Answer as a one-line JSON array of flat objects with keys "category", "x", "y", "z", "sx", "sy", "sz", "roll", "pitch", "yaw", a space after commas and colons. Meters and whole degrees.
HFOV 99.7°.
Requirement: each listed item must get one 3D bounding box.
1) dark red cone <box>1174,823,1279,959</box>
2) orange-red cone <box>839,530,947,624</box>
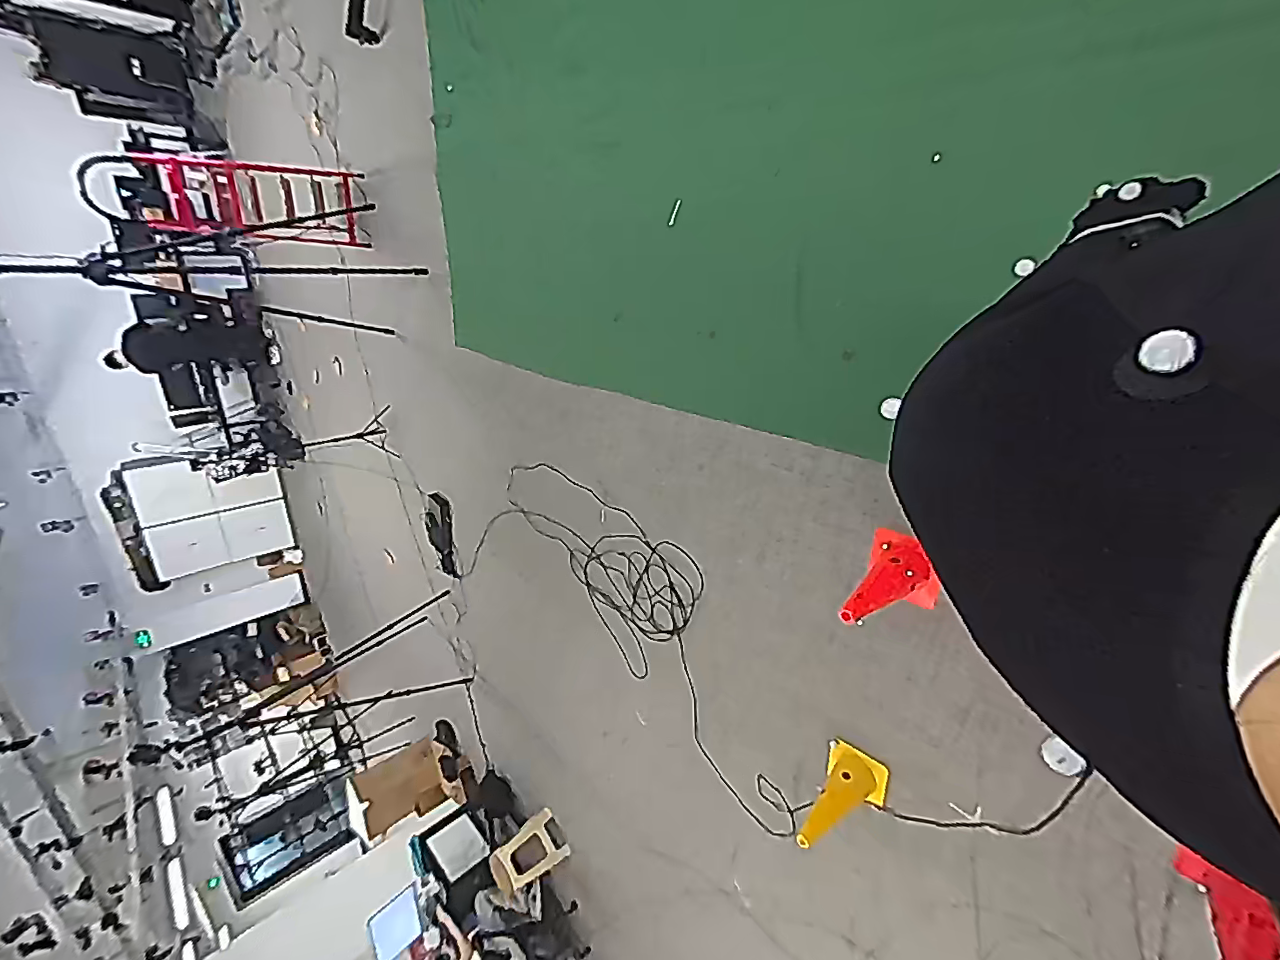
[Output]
[{"category": "dark red cone", "x": 1.171, "y": 0.891, "z": 1.043, "sx": 0.202, "sy": 0.394, "sz": 0.201, "roll": 16, "pitch": 114, "yaw": 44}, {"category": "orange-red cone", "x": 0.642, "y": 0.301, "z": 1.454, "sx": 0.198, "sy": 0.360, "sz": 0.199, "roll": 23, "pitch": 121, "yaw": 43}]
